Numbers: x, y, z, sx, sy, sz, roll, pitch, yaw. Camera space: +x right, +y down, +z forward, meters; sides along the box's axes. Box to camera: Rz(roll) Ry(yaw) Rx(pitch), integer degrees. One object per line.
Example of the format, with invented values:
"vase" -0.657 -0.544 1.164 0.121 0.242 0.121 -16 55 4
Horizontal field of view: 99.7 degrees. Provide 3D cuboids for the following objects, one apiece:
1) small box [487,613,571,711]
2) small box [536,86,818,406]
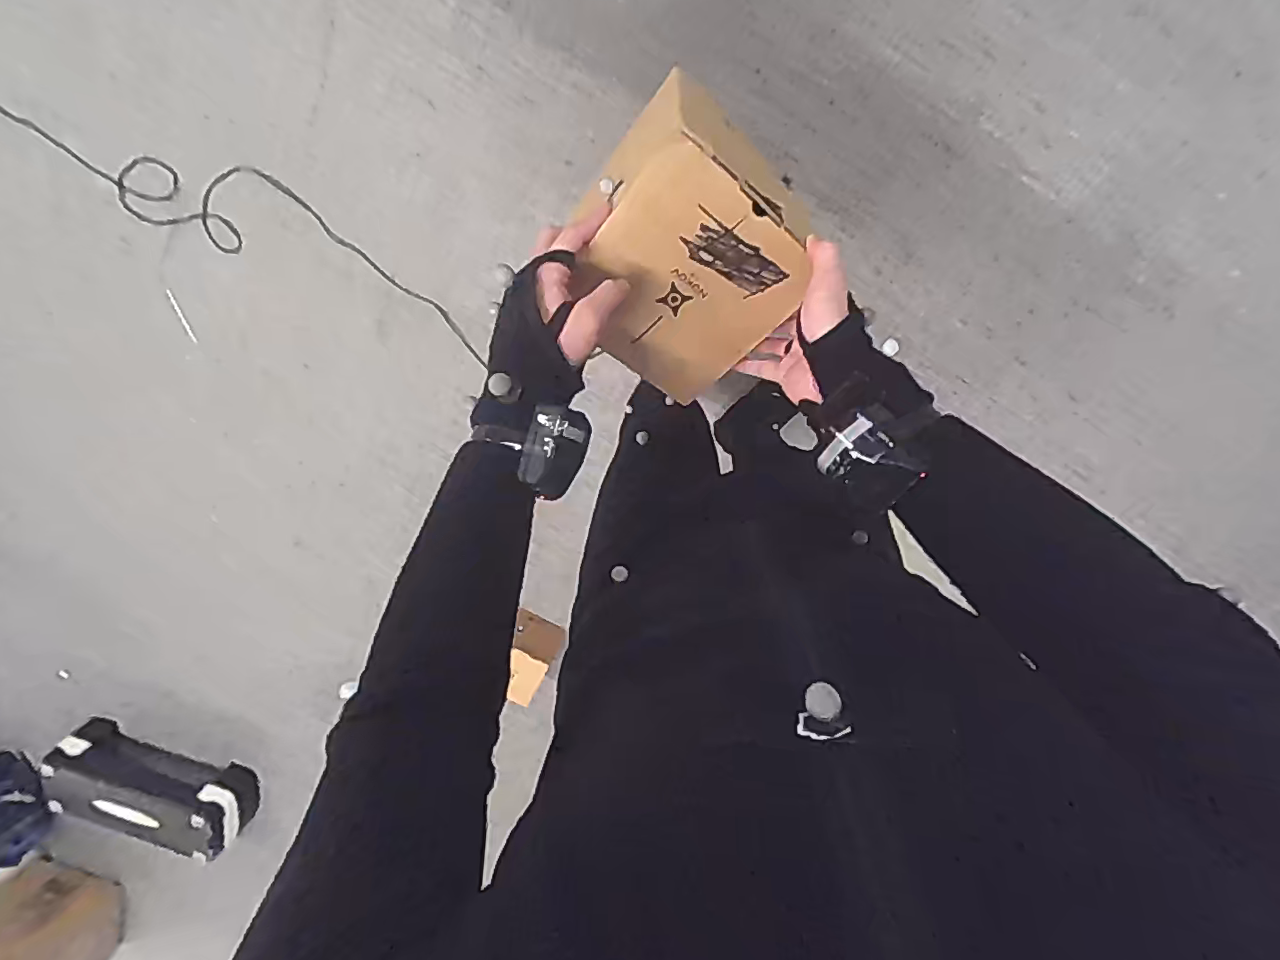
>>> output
"small box" -0.318 0.524 1.579 0.168 0.176 0.179 26 114 0
"small box" 0.028 -0.210 0.493 0.168 0.176 0.179 29 132 -24
